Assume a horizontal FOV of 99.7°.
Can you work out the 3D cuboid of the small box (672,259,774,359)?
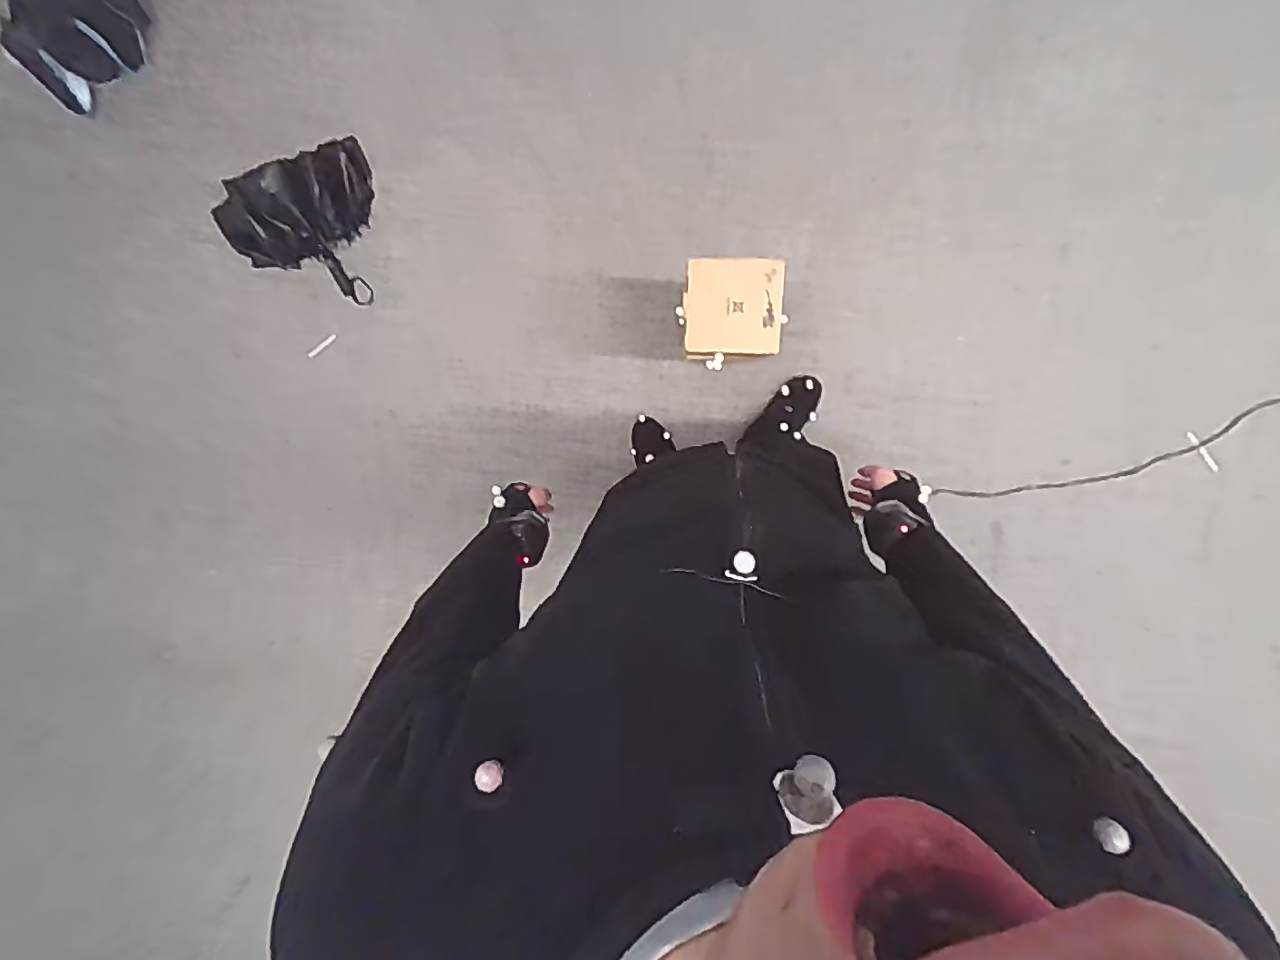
[{"bbox_3d":[0.157,-0.329,1.067,0.179,0.176,0.168,3,100,3],"label":"small box"}]
